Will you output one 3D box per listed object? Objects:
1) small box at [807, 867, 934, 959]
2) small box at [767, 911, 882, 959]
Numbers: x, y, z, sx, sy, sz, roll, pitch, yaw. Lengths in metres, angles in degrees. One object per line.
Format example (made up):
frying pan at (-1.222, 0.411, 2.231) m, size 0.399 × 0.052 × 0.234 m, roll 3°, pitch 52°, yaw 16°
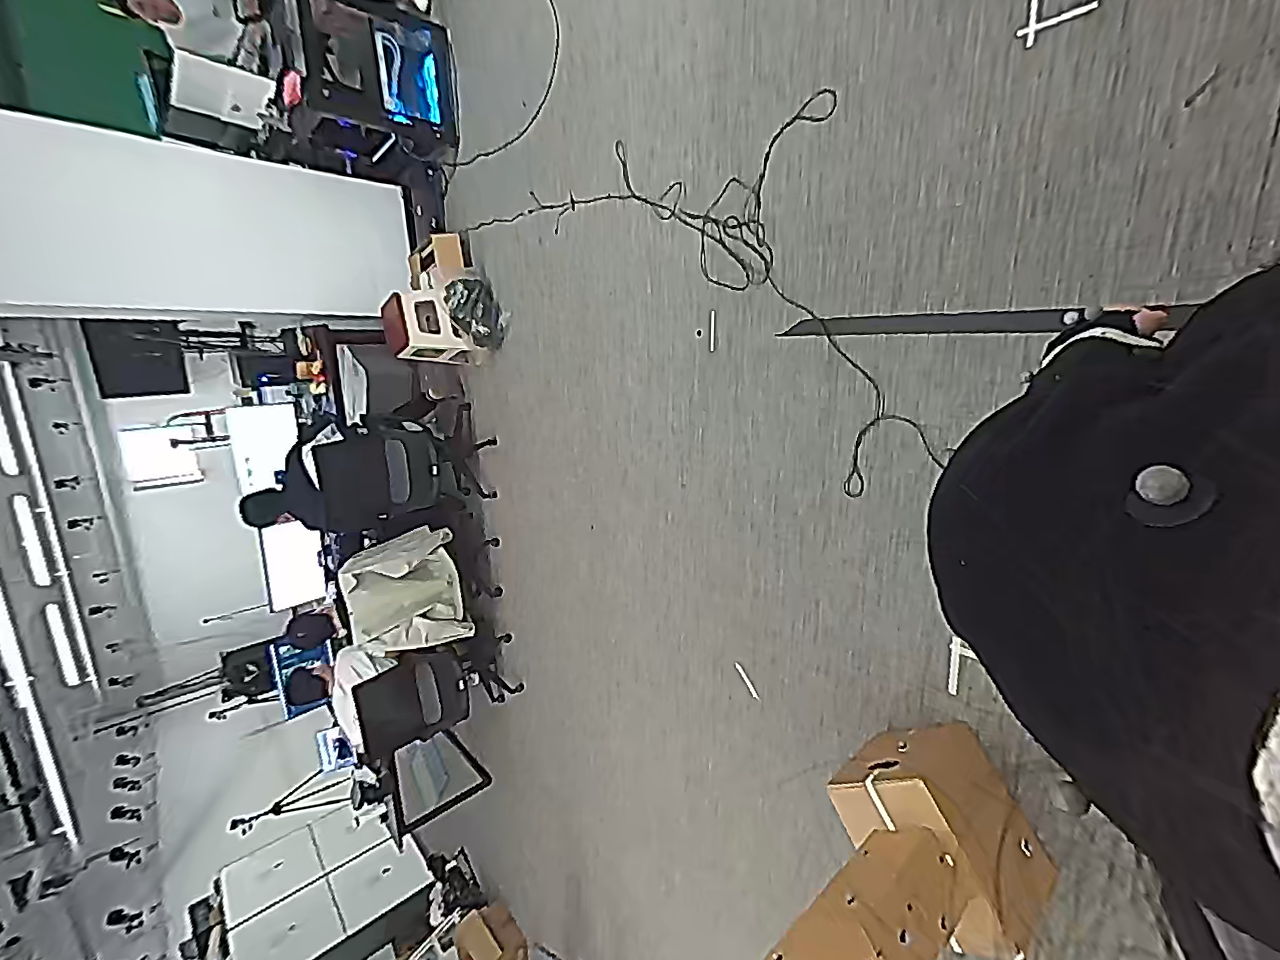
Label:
small box at (0.511, 0.987, 1.188) m, size 0.179 × 0.176 × 0.168 m, roll -44°, pitch 66°, yaw 45°
small box at (0.388, 1.012, 1.085) m, size 0.179 × 0.176 × 0.168 m, roll -43°, pitch 67°, yaw 47°
